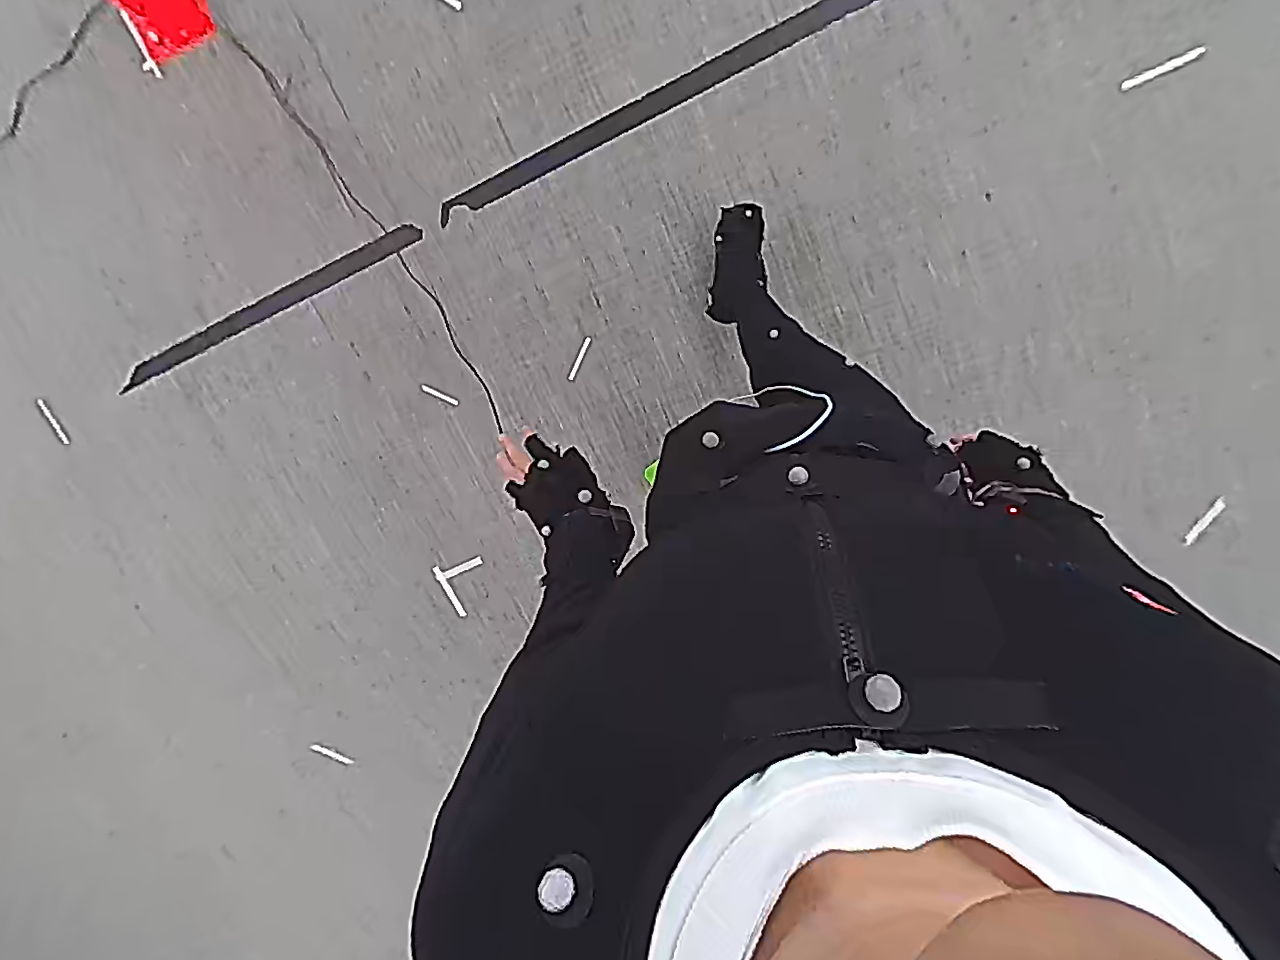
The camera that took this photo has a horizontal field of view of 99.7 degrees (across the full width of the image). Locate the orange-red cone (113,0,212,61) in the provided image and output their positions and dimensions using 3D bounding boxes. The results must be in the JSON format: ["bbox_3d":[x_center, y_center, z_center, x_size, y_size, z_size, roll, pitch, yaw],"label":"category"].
[{"bbox_3d":[-1.135,-1.075,1.105,0.199,0.360,0.198,-14,103,9],"label":"orange-red cone"}]

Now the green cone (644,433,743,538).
[{"bbox_3d":[0.118,0.048,1.256,0.202,0.368,0.200,-37,97,15],"label":"green cone"}]
